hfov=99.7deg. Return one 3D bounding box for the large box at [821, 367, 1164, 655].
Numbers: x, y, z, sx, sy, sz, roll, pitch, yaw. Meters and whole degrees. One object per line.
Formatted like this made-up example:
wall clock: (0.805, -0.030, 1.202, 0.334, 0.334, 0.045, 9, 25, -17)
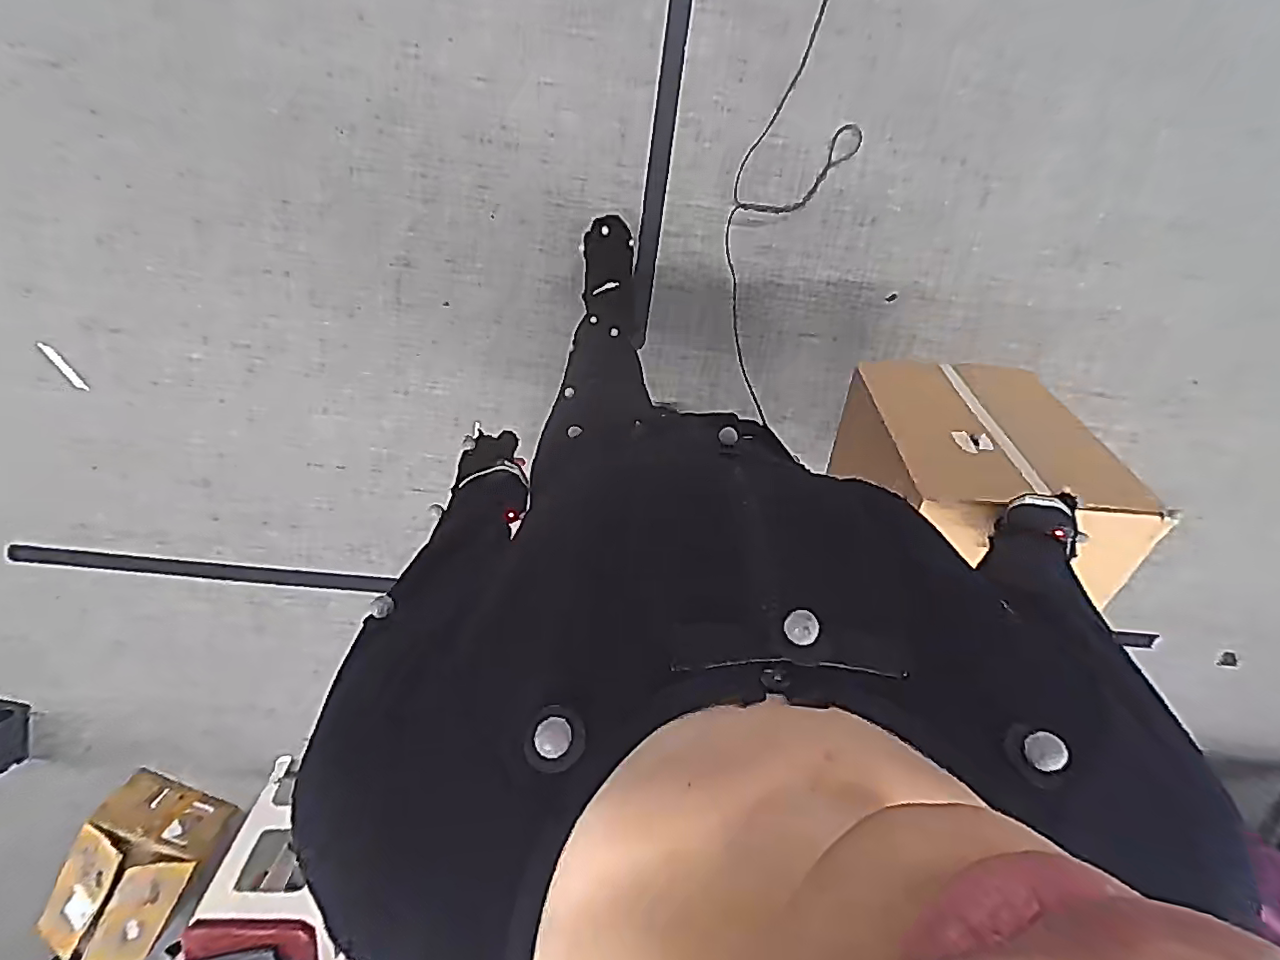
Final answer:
large box: (0.539, 0.038, 0.952, 0.320, 0.408, 0.320, 3, 129, 4)
